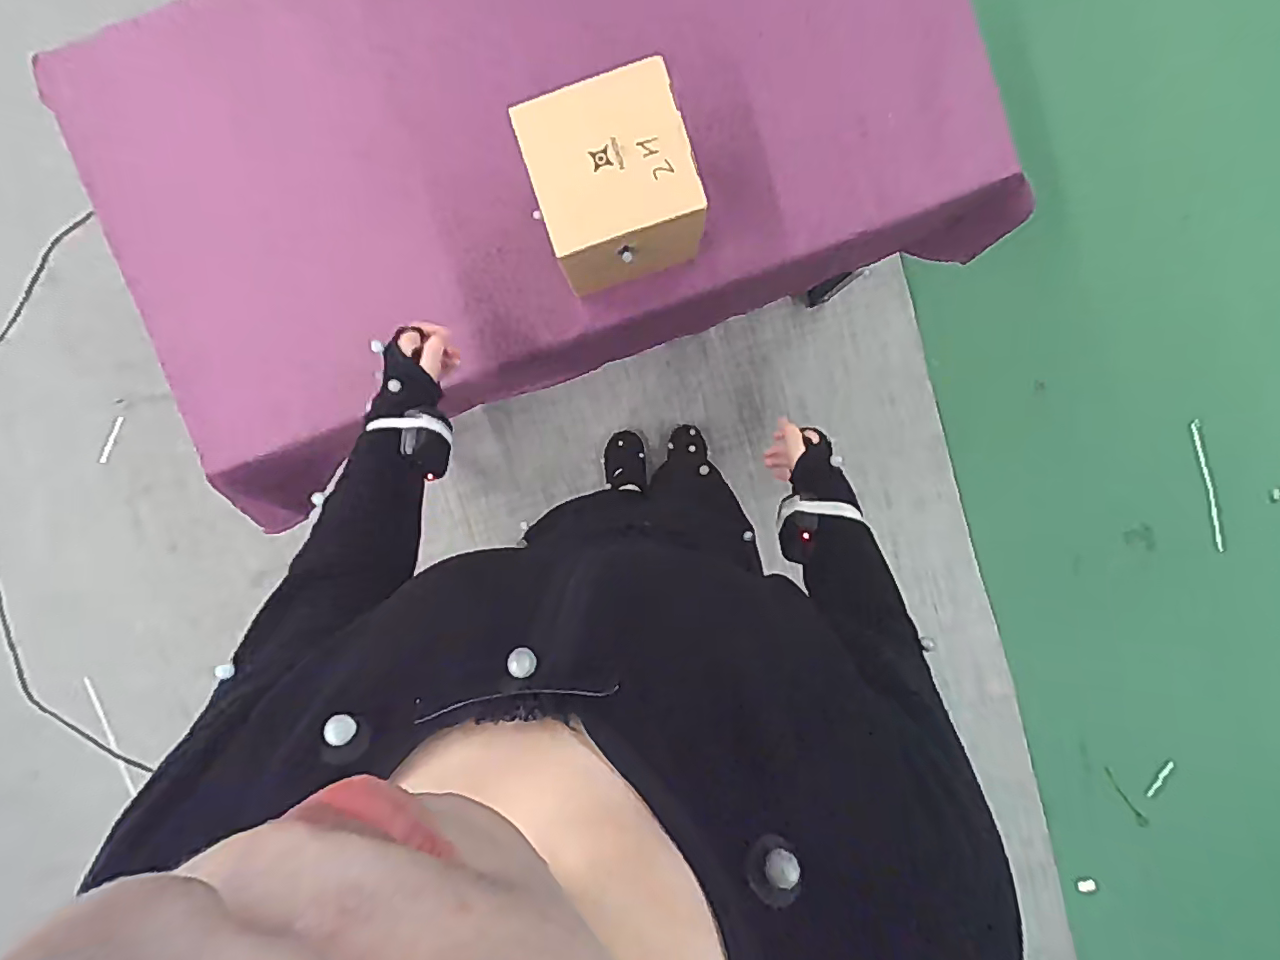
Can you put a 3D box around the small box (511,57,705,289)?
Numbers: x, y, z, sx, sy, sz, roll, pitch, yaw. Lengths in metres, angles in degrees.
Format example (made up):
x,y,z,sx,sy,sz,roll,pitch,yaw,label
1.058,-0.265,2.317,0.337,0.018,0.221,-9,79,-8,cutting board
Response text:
x,y,z,sx,sy,sz,roll,pitch,yaw,label
-0.032,-0.352,0.659,0.179,0.176,0.168,-17,95,1,small box
